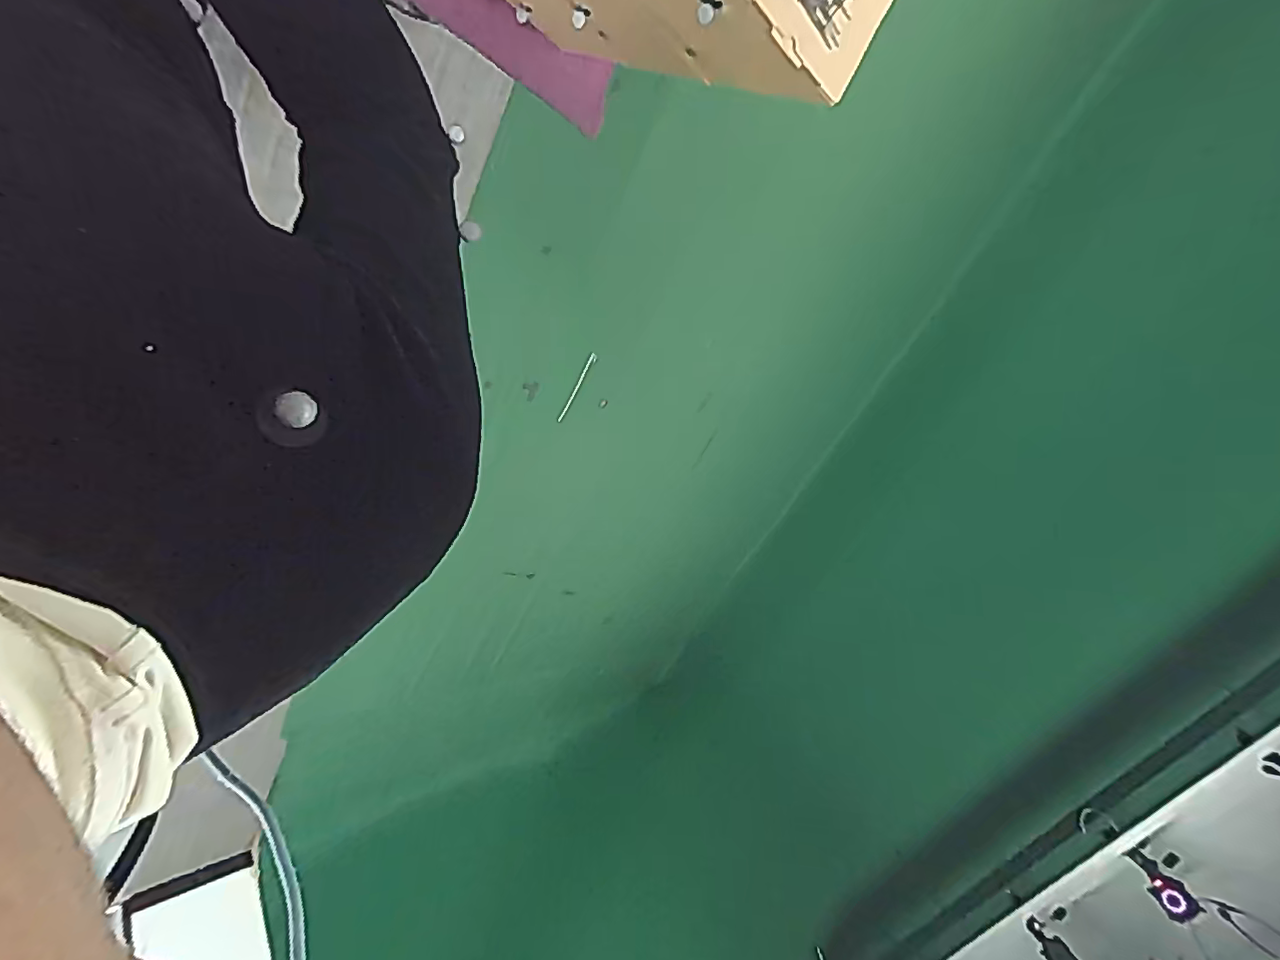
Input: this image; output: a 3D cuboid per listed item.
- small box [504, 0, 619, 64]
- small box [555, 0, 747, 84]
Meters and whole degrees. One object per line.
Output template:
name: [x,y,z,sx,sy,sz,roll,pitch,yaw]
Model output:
small box: [-0.088,-0.643,0.634,0.179,0.176,0.168,9,119,-50]
small box: [0.011,-0.551,0.542,0.168,0.176,0.179,10,118,-48]
